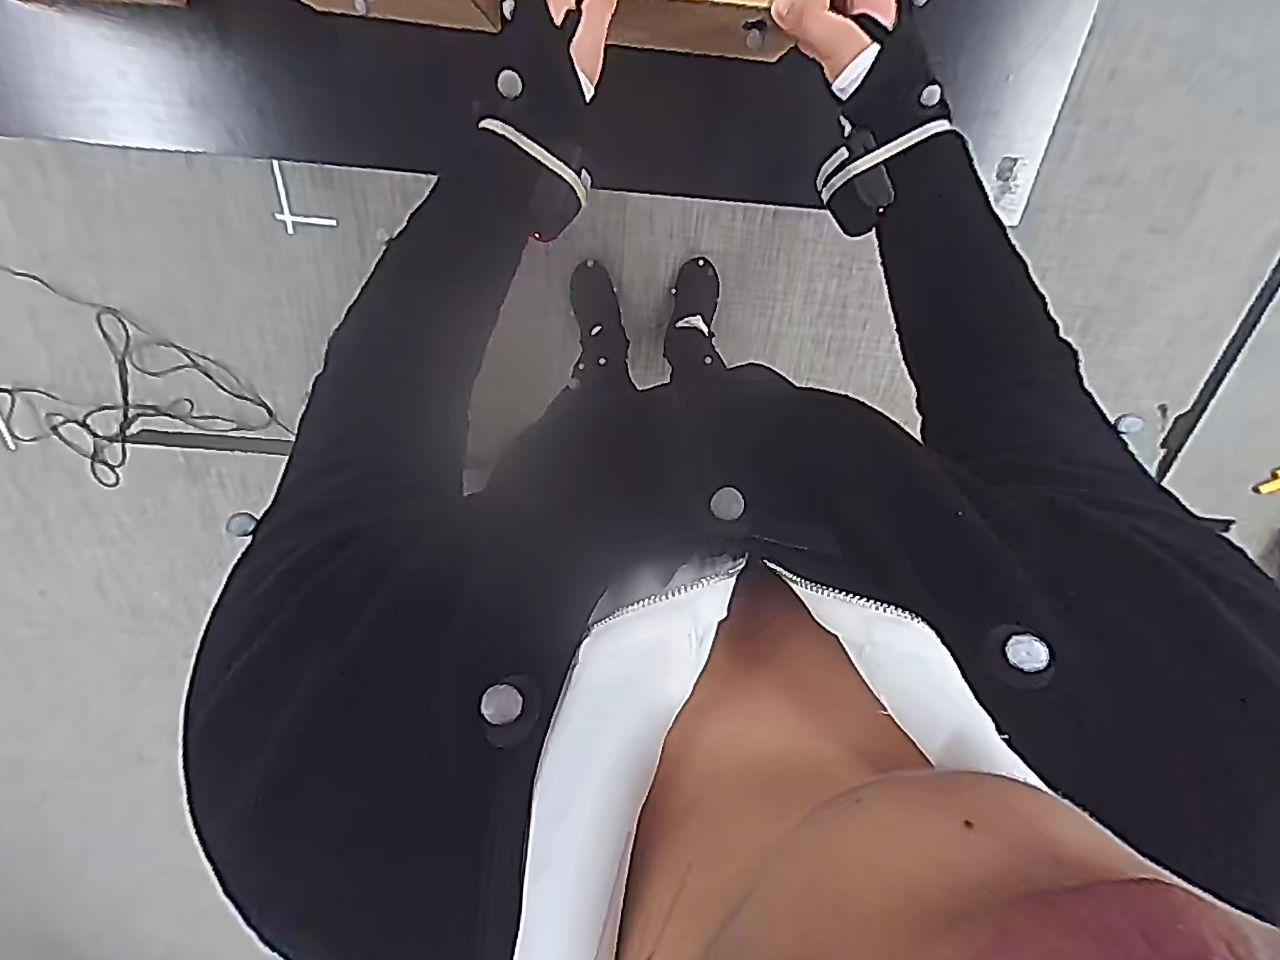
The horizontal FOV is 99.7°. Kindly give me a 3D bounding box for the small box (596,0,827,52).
[{"bbox_3d":[0.057,-0.463,0.428,0.179,0.176,0.168,3,118,-3],"label":"small box"}]

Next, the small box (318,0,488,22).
[{"bbox_3d":[-0.214,-0.479,0.412,0.179,0.176,0.168,4,118,-3],"label":"small box"}]
